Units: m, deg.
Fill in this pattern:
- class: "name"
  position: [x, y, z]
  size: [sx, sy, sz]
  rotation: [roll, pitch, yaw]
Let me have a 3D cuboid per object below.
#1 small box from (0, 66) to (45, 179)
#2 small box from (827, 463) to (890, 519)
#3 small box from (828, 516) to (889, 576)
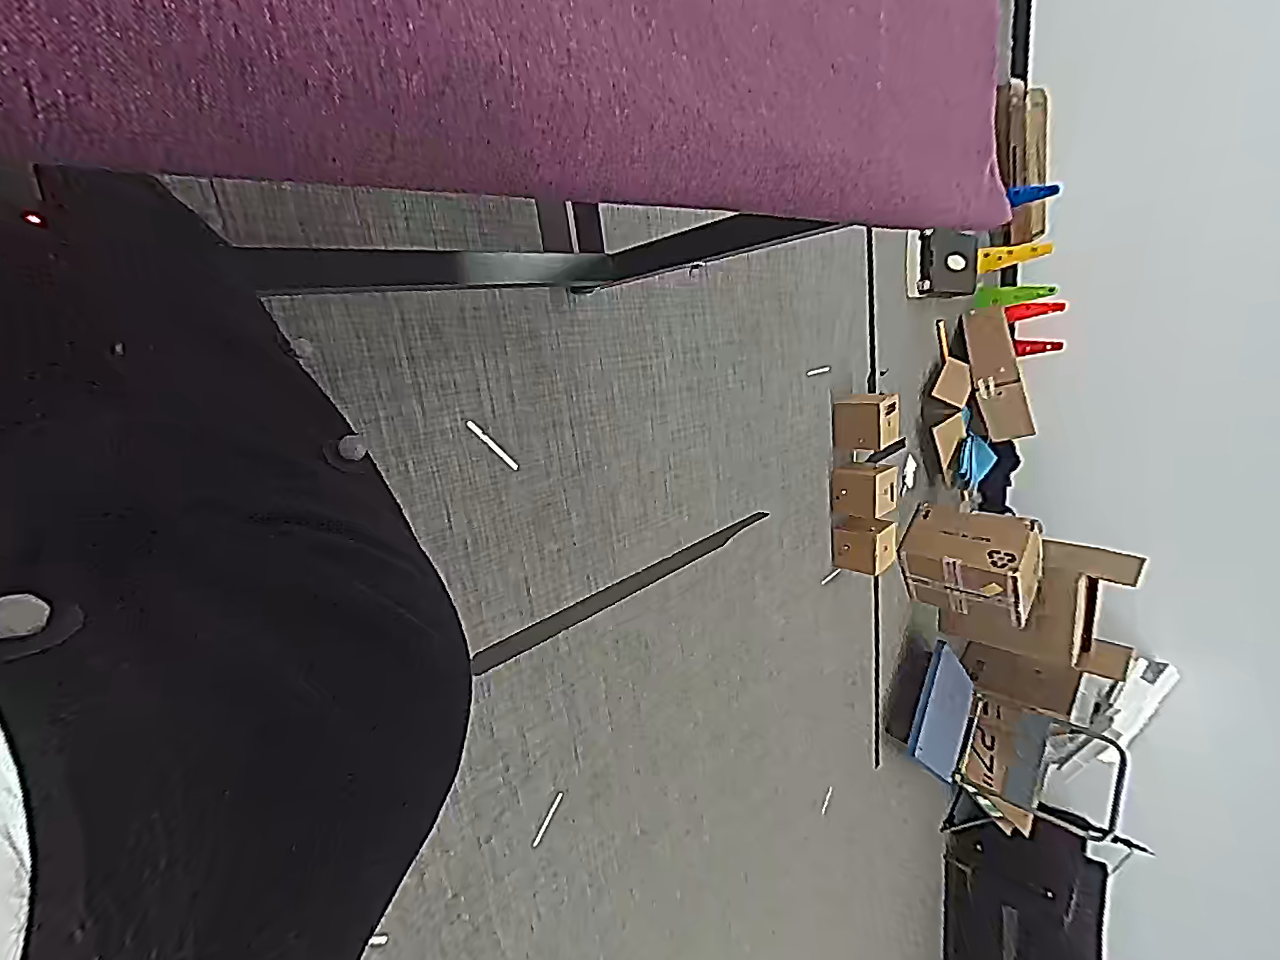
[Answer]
- class: "small box"
  position: [-0.599, -0.343, 0.389]
  size: [0.168, 0.176, 0.179]
  rotation: [-28, 107, -34]
- class: "small box"
  position: [0.825, 0.034, 2.042]
  size: [0.179, 0.176, 0.168]
  rotation: [-17, 108, -41]
- class: "small box"
  position: [0.852, 0.250, 2.107]
  size: [0.179, 0.176, 0.168]
  rotation: [-20, 110, -41]
